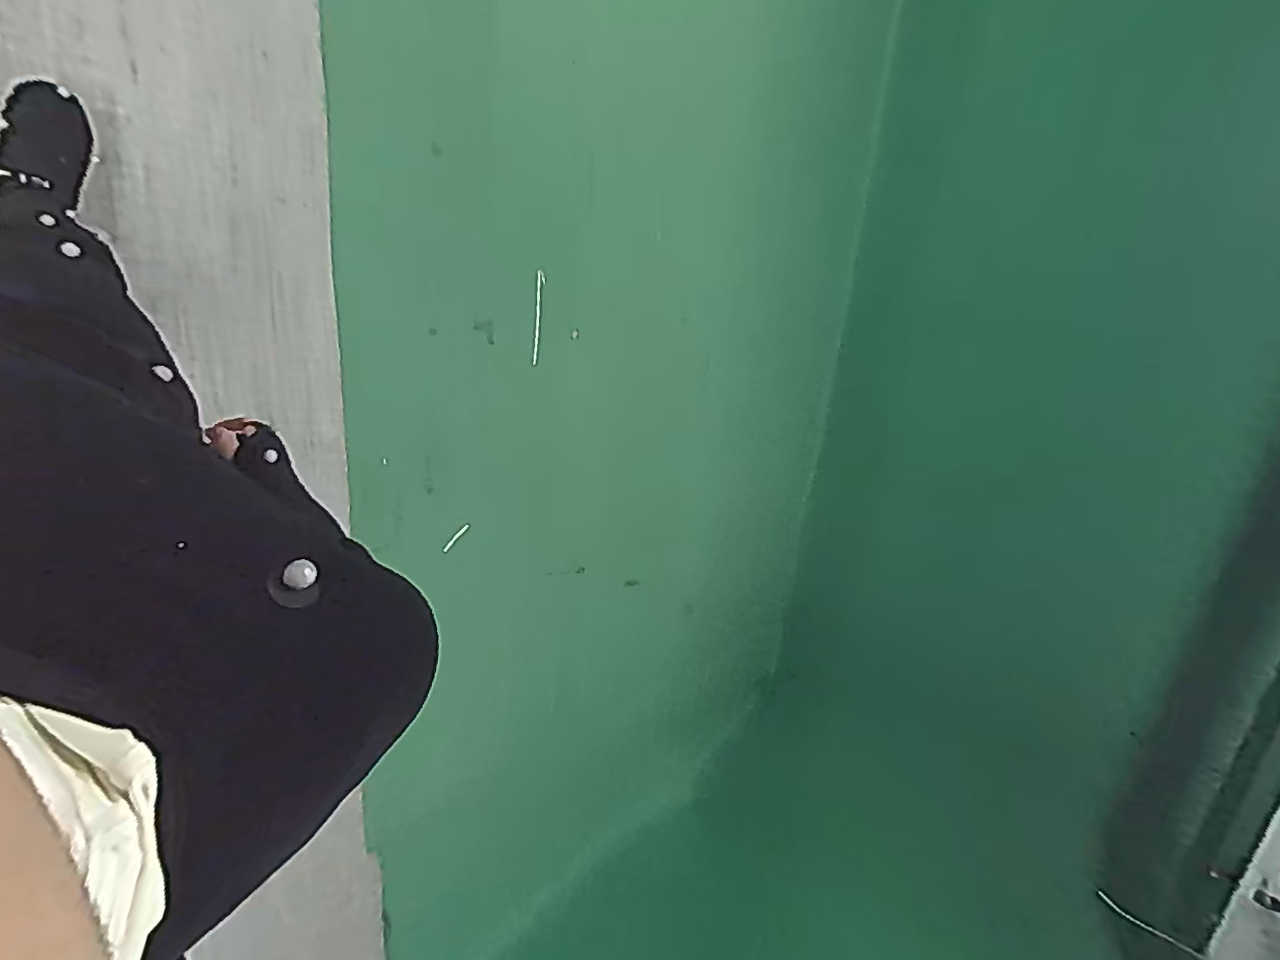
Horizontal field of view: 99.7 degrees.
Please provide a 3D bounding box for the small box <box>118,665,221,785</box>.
[{"bbox_3d":[-1.157,0.593,1.332,0.168,0.176,0.179,-11,114,-46],"label":"small box"}]
